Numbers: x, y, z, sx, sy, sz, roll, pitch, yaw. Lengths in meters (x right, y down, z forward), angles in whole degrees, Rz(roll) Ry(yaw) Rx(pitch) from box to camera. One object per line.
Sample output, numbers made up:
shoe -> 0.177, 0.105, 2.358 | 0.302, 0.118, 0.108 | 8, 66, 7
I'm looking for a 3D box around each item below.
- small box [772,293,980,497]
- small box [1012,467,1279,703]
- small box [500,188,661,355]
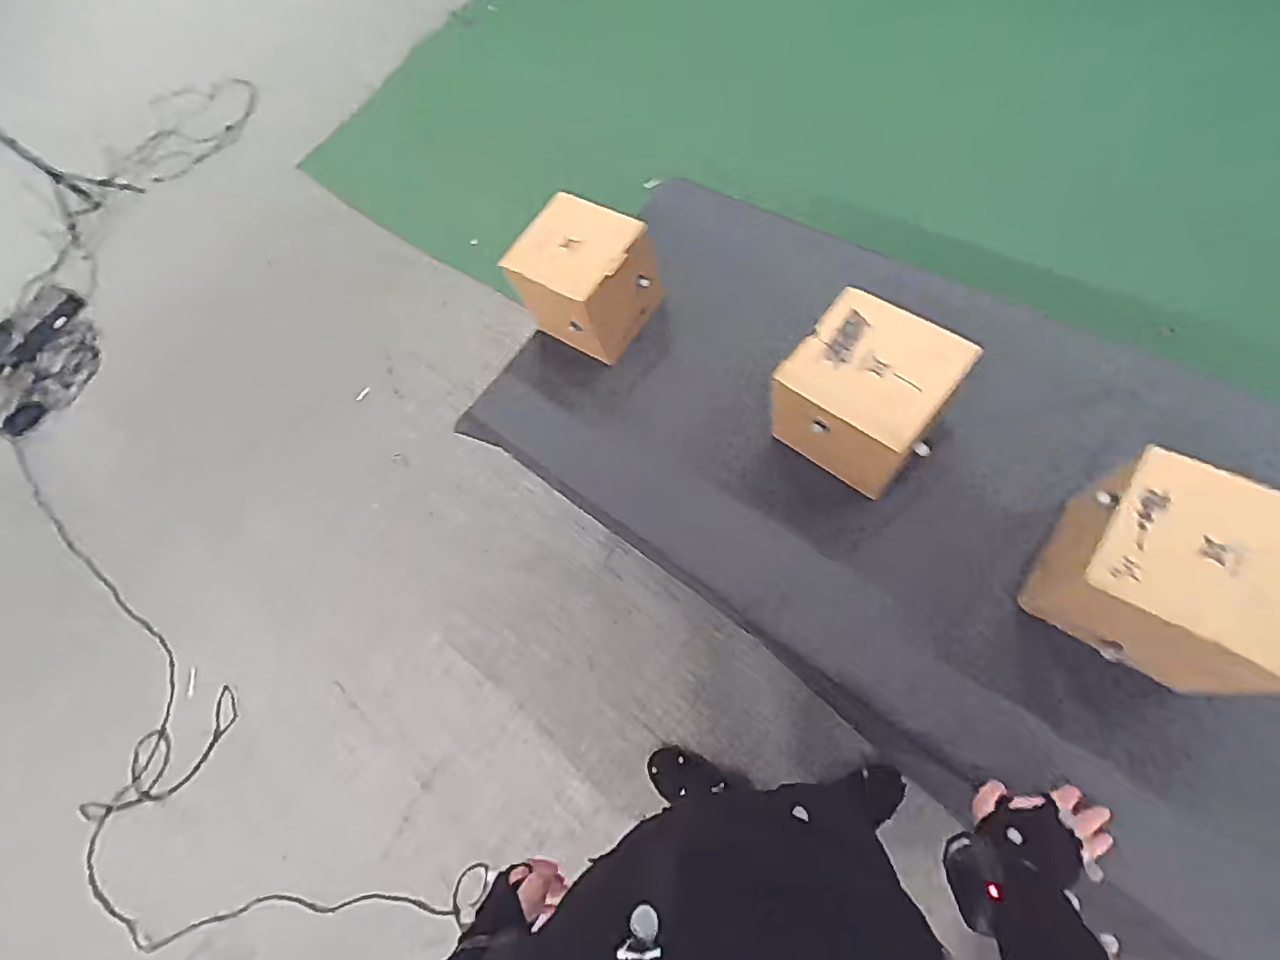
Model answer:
small box -> 0.296, -0.104, 0.718 | 0.168, 0.176, 0.179 | -46, 65, -5
small box -> 0.557, 0.116, 0.589 | 0.179, 0.176, 0.168 | 29, 79, 23
small box -> -0.086, -0.332, 0.888 | 0.179, 0.176, 0.168 | 31, 78, 23
